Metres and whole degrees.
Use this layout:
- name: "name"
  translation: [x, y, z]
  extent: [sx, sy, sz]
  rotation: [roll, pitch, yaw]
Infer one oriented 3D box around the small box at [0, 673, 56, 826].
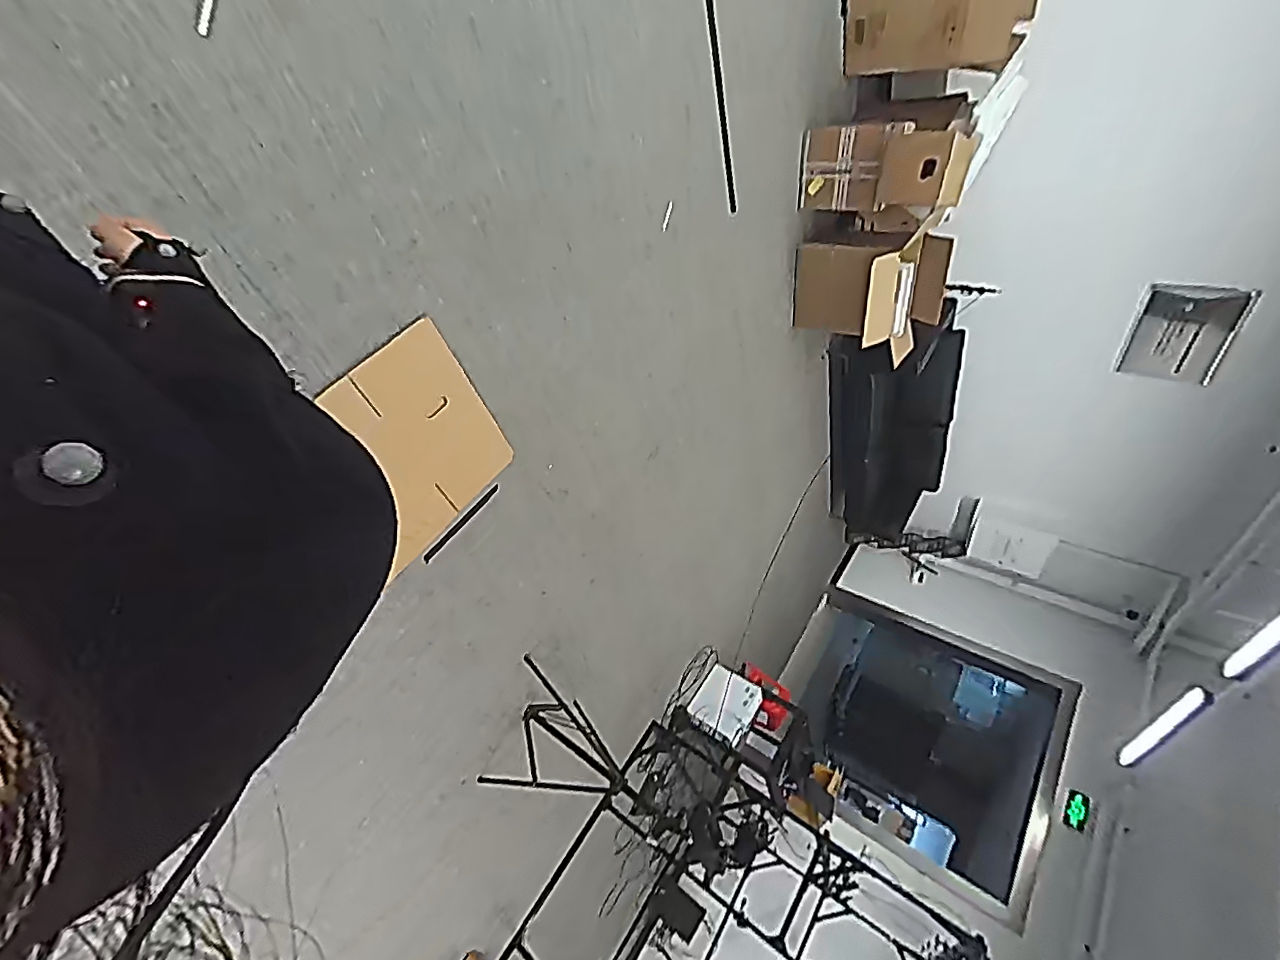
- name: "small box"
  translation: [-1.020, 0.412, 0.805]
  extent: [0.179, 0.176, 0.168]
  rotation: [5, 101, -54]
